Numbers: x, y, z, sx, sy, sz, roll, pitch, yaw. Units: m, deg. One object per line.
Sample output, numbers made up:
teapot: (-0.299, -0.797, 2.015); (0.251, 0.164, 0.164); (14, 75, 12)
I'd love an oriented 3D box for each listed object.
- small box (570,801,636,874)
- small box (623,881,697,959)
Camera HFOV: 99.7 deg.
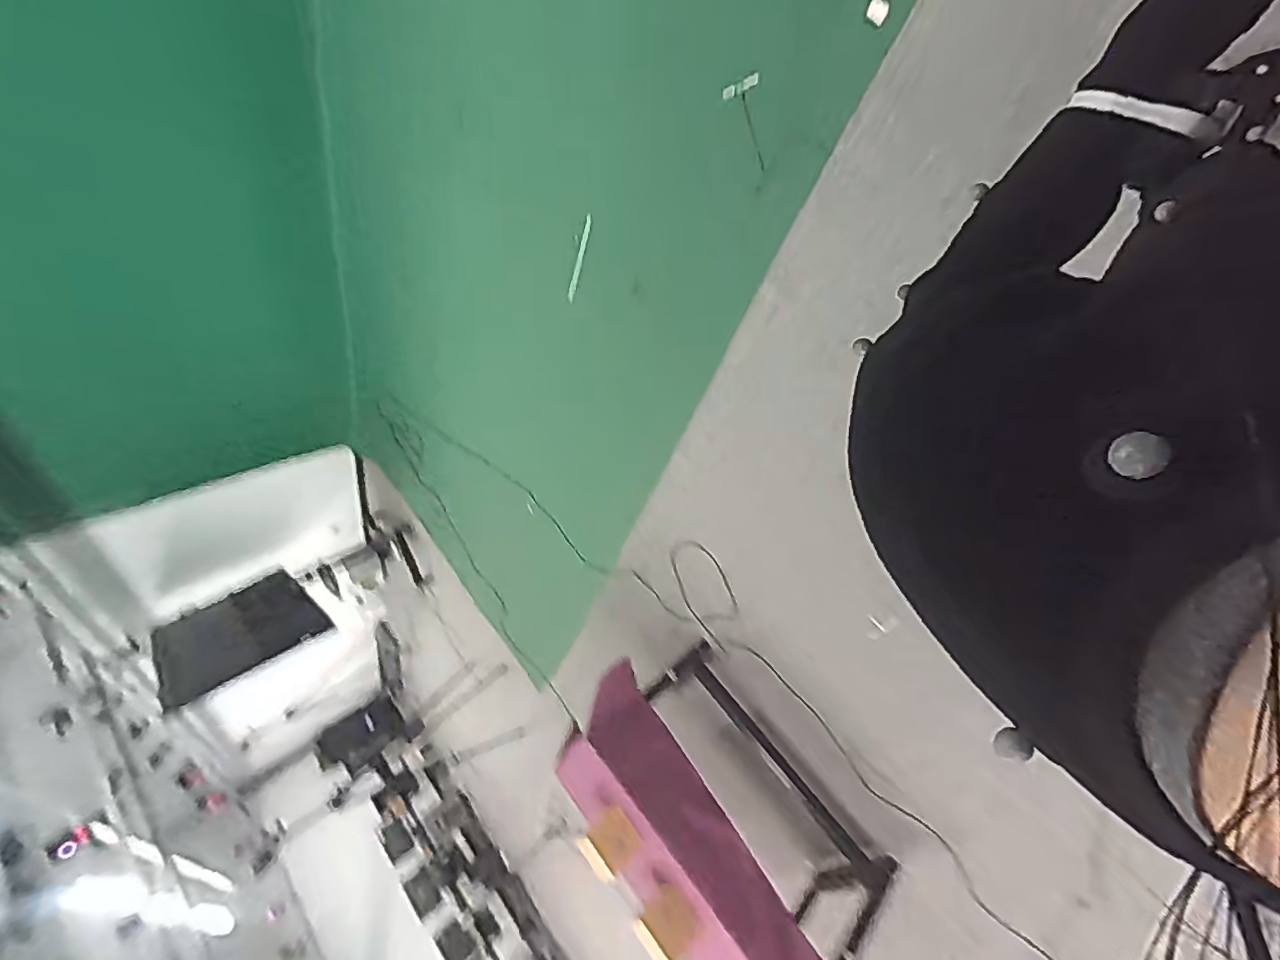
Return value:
small box: (-0.139, 1.371, 2.079); (0.168, 0.176, 0.179); (49, 140, 16)
small box: (0.073, 1.610, 1.981); (0.179, 0.176, 0.168); (48, 140, 17)
